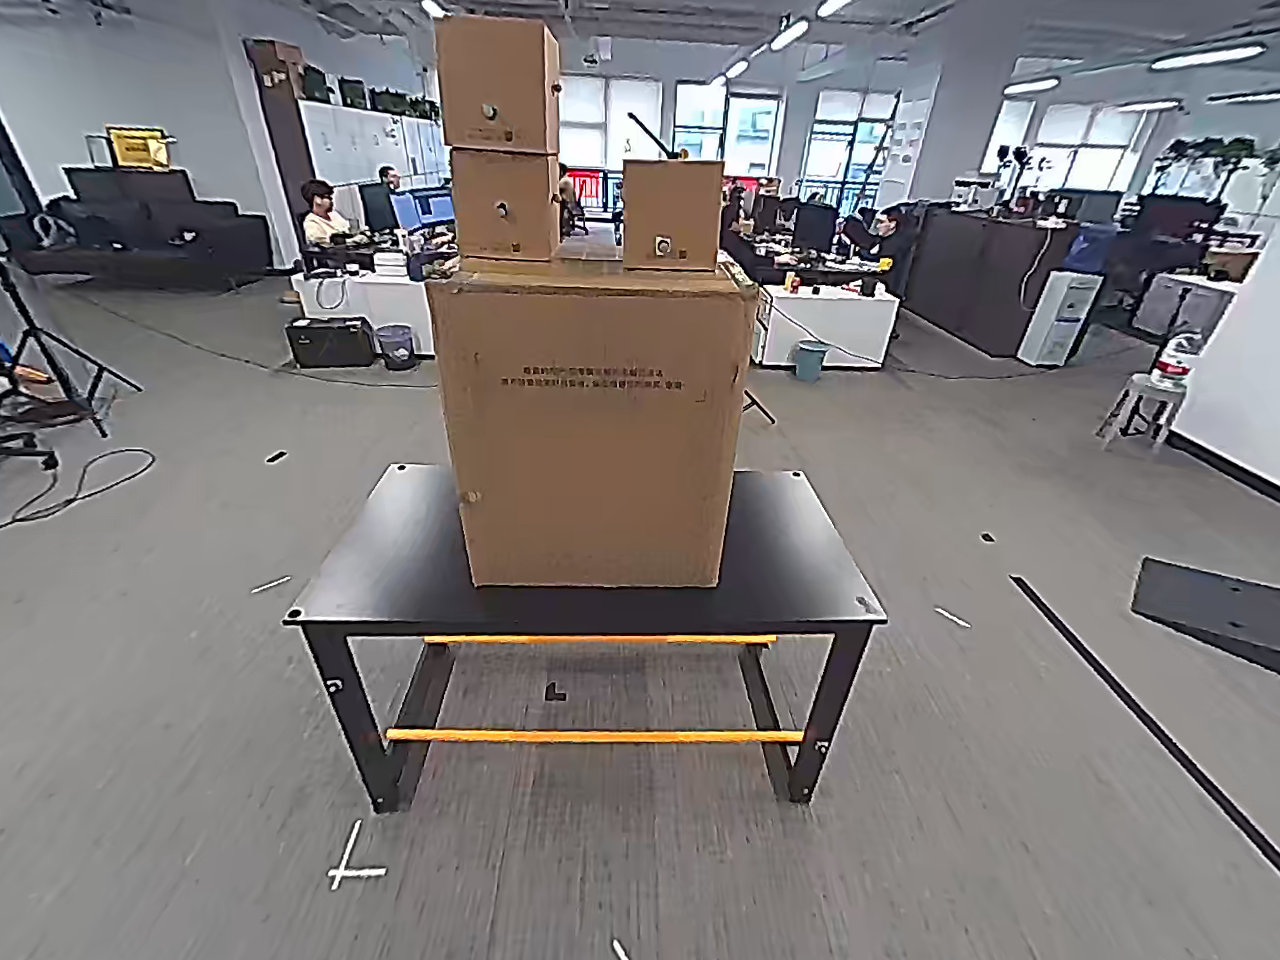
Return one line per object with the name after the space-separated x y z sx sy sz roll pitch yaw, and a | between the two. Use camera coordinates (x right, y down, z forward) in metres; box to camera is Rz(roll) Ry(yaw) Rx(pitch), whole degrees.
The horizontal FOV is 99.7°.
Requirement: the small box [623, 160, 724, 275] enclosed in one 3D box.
0.054 -0.473 0.971 0.168 0.176 0.179 0 31 0 | small box

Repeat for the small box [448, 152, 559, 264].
-0.239 -0.502 0.995 0.168 0.176 0.179 2 31 -4 | small box

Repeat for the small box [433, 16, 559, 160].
-0.227 -0.635 0.895 0.168 0.176 0.179 2 31 -2 | small box
